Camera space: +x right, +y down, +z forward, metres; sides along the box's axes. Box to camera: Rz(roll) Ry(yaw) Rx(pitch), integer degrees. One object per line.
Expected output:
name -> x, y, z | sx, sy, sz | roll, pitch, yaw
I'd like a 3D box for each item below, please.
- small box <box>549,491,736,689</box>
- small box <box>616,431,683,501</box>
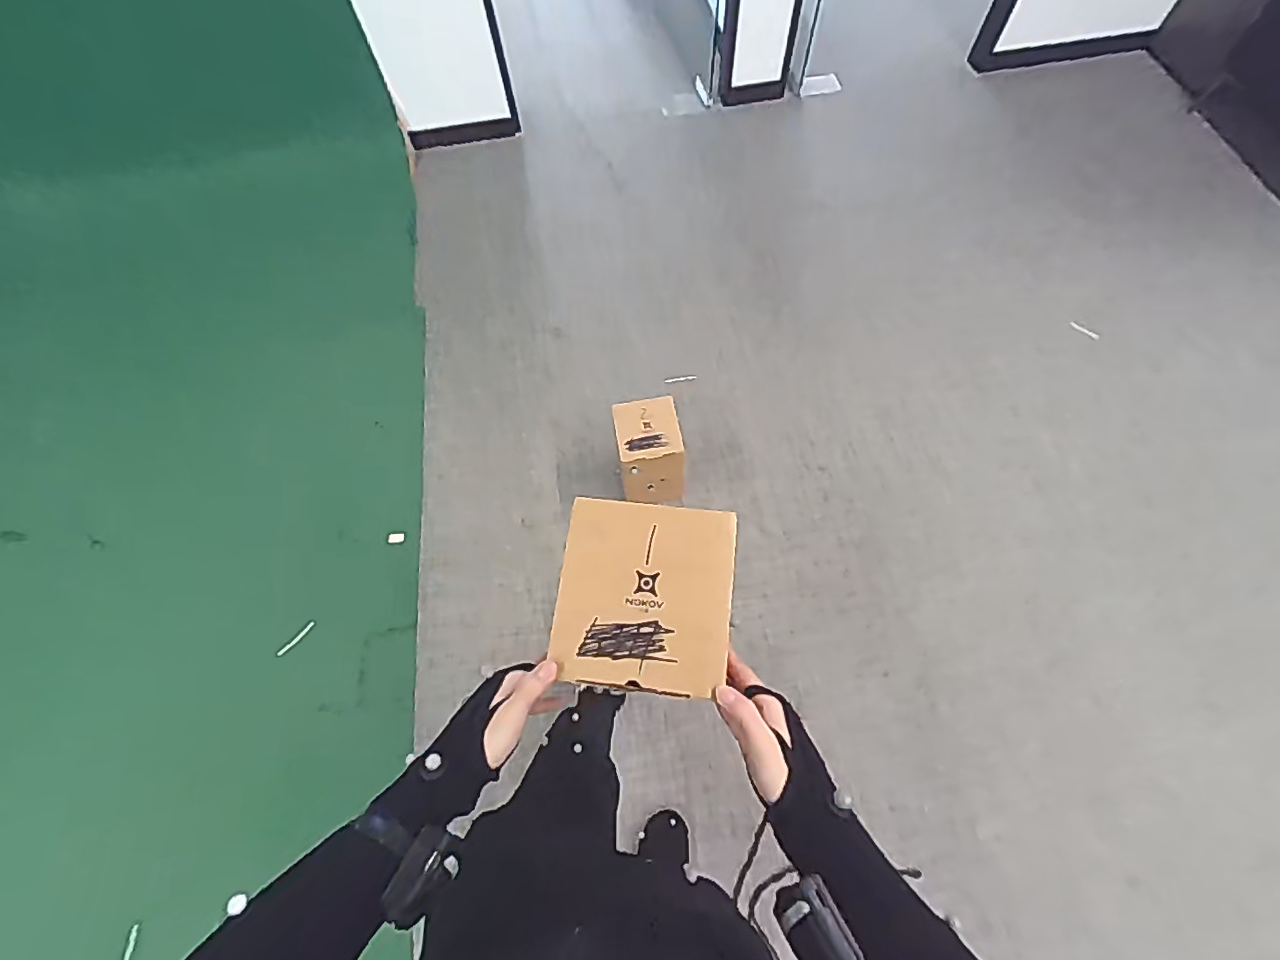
small box -> 0.012, 0.127, 0.598 | 0.168, 0.176, 0.179 | 6, 70, 6
small box -> 0.031, -0.024, 1.630 | 0.179, 0.176, 0.168 | -9, 65, -2
